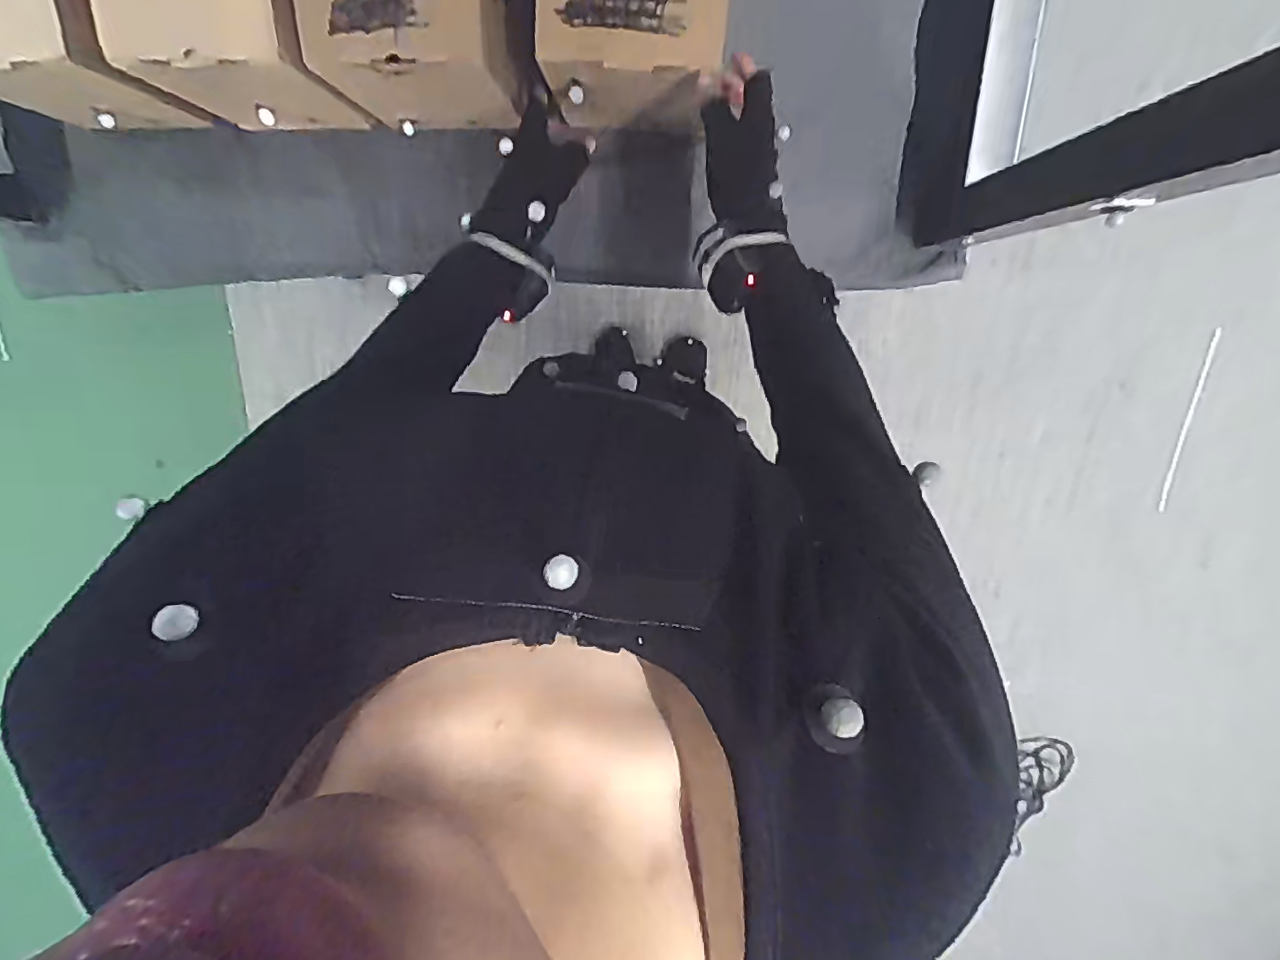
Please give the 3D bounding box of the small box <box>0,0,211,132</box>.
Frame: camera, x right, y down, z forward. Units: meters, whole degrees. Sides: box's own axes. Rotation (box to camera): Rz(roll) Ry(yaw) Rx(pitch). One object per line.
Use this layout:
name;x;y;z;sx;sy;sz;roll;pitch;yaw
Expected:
small box;-0.589;-0.480;0.546;0.168;0.176;0.179;1;106;3
